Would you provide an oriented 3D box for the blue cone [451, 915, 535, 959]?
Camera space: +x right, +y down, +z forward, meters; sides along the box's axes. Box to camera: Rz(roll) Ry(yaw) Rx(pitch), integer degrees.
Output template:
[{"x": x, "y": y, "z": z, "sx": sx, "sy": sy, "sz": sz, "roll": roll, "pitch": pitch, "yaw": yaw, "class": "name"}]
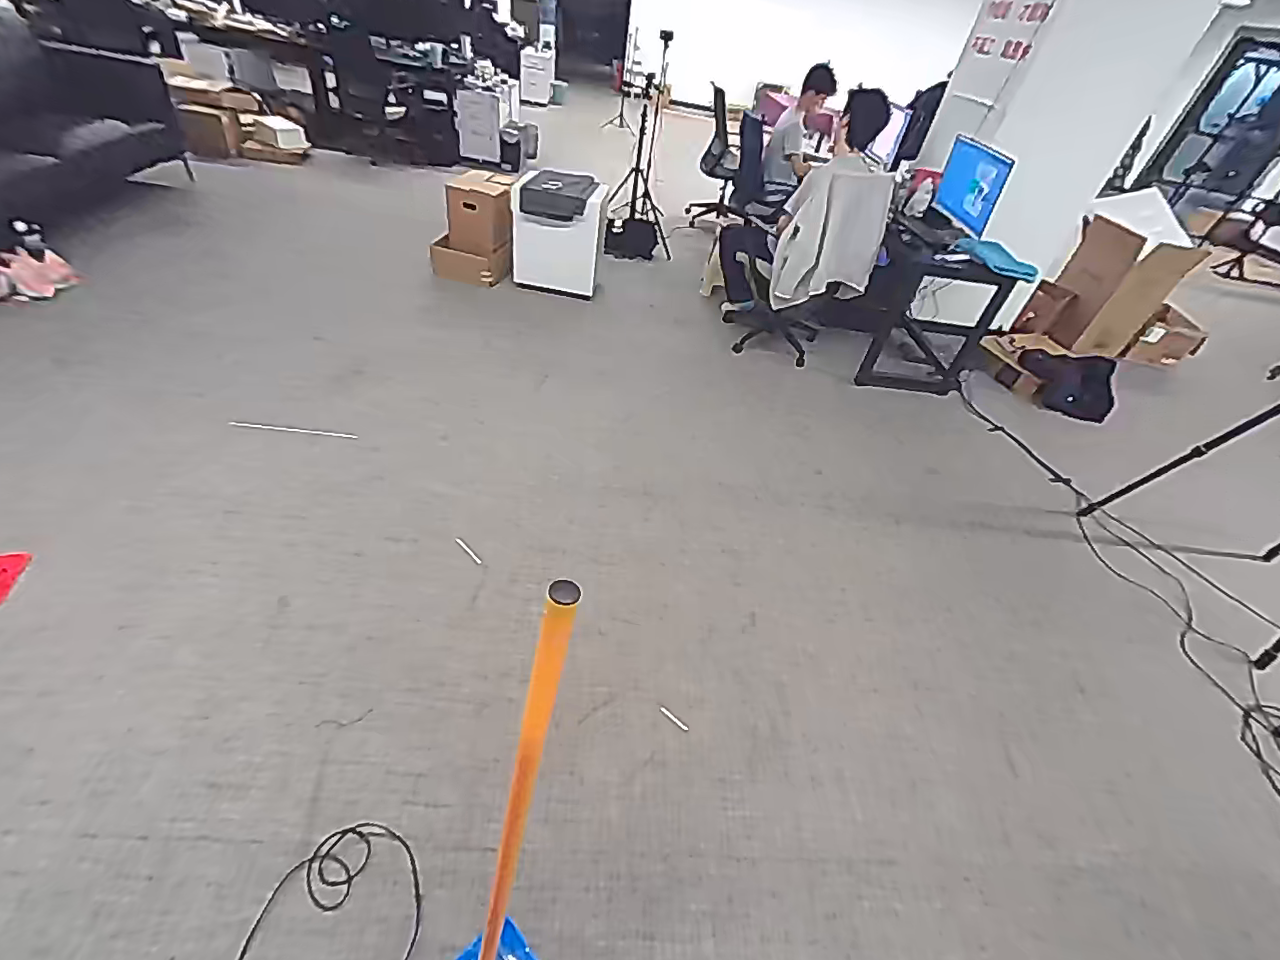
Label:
[{"x": -0.270, "y": 0.886, "z": 0.964, "sx": 0.192, "sy": 0.380, "sz": 0.193, "roll": 37, "pitch": 45, "yaw": 27, "class": "blue cone"}]
